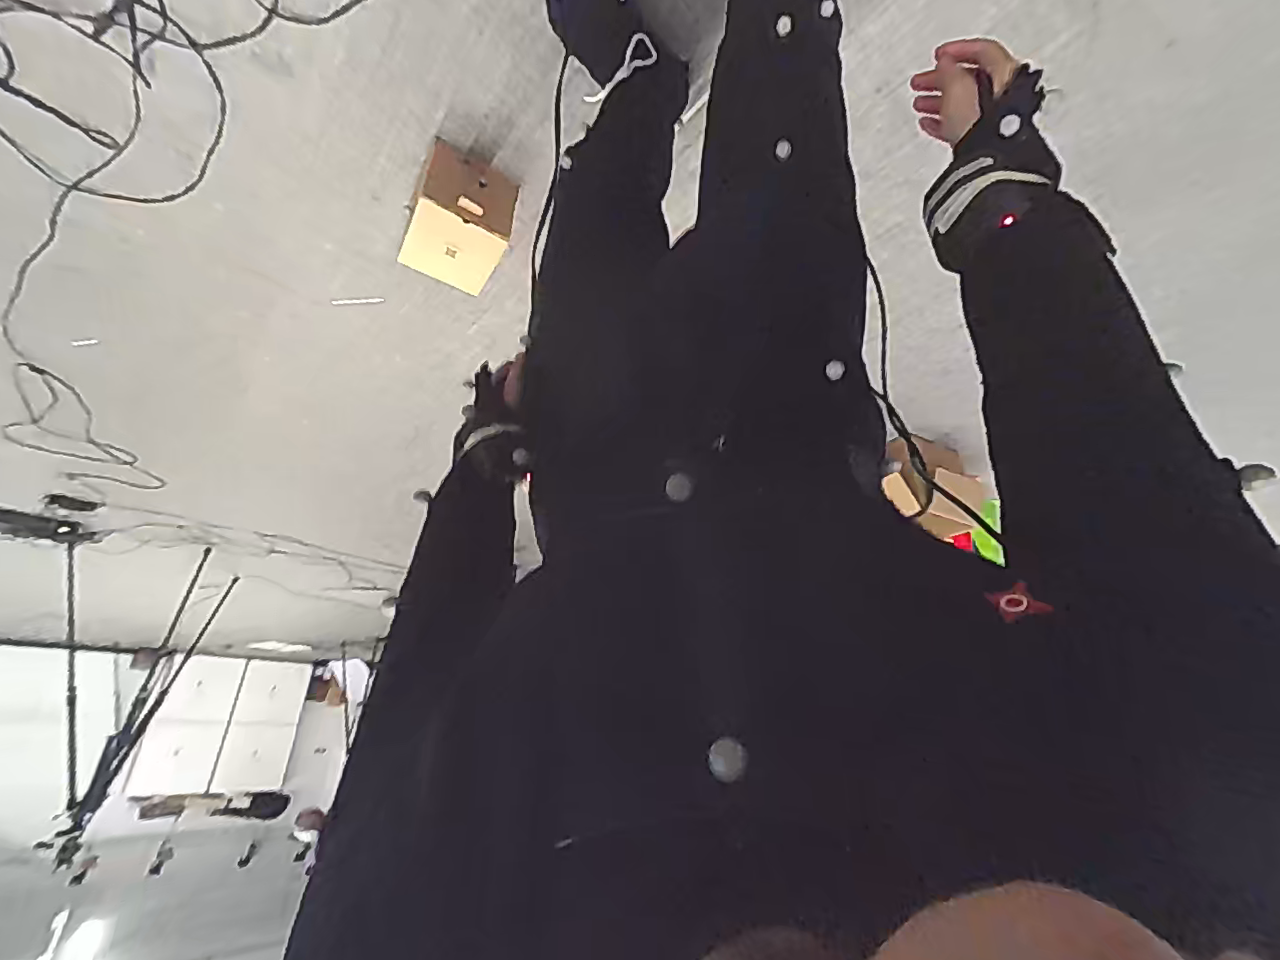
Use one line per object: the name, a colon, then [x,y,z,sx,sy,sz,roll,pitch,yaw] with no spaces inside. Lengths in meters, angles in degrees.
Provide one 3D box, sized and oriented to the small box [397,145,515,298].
small box: [-0.360,-0.506,1.072,0.168,0.176,0.179,18,148,-31]
